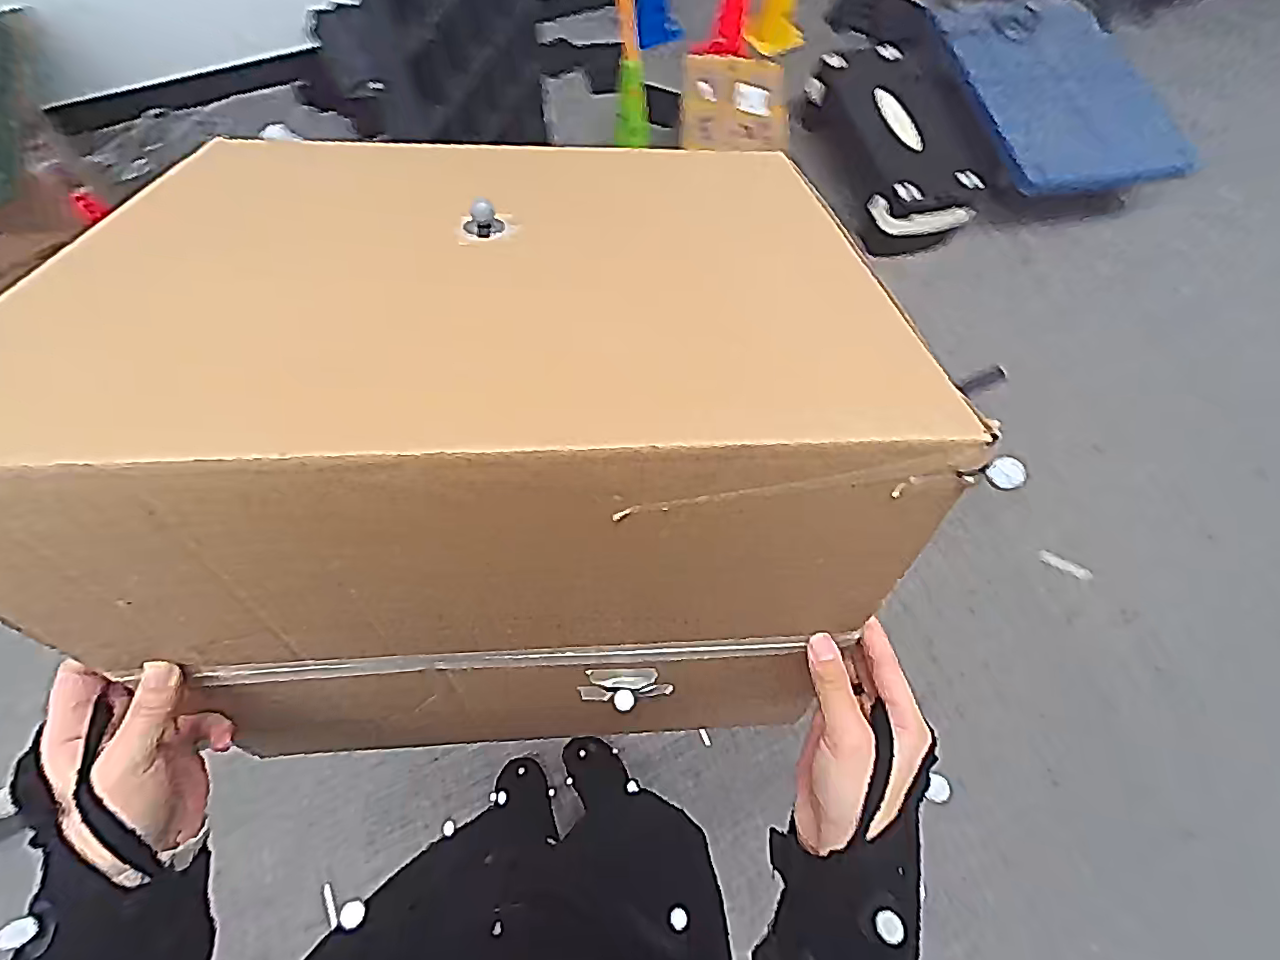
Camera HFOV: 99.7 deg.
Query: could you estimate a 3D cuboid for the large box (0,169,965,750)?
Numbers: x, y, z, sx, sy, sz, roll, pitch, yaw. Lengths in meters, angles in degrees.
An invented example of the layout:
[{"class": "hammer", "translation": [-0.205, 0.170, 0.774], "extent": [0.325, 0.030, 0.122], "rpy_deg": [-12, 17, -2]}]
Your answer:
[{"class": "large box", "translation": [-0.084, -0.017, 0.407], "extent": [0.408, 0.320, 0.320], "rpy_deg": [-2, 49, -4]}]
